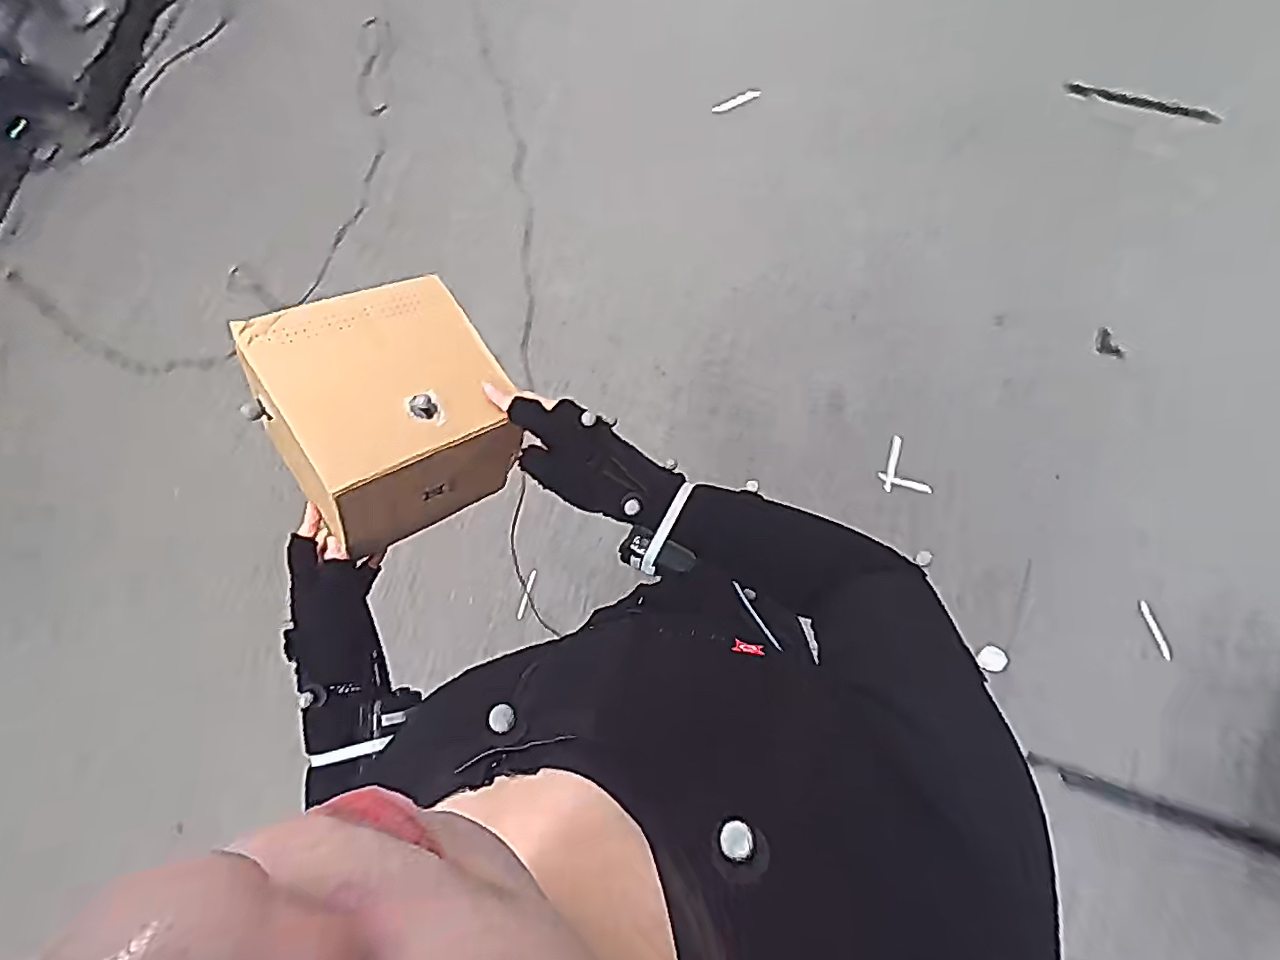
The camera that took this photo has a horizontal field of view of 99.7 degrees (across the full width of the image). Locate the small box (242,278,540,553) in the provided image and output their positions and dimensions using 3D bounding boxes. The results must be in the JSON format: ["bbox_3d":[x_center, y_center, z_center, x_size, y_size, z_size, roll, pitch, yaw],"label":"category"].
[{"bbox_3d":[-0.227,-0.064,0.509,0.179,0.168,0.176,-29,79,-33],"label":"small box"}]
